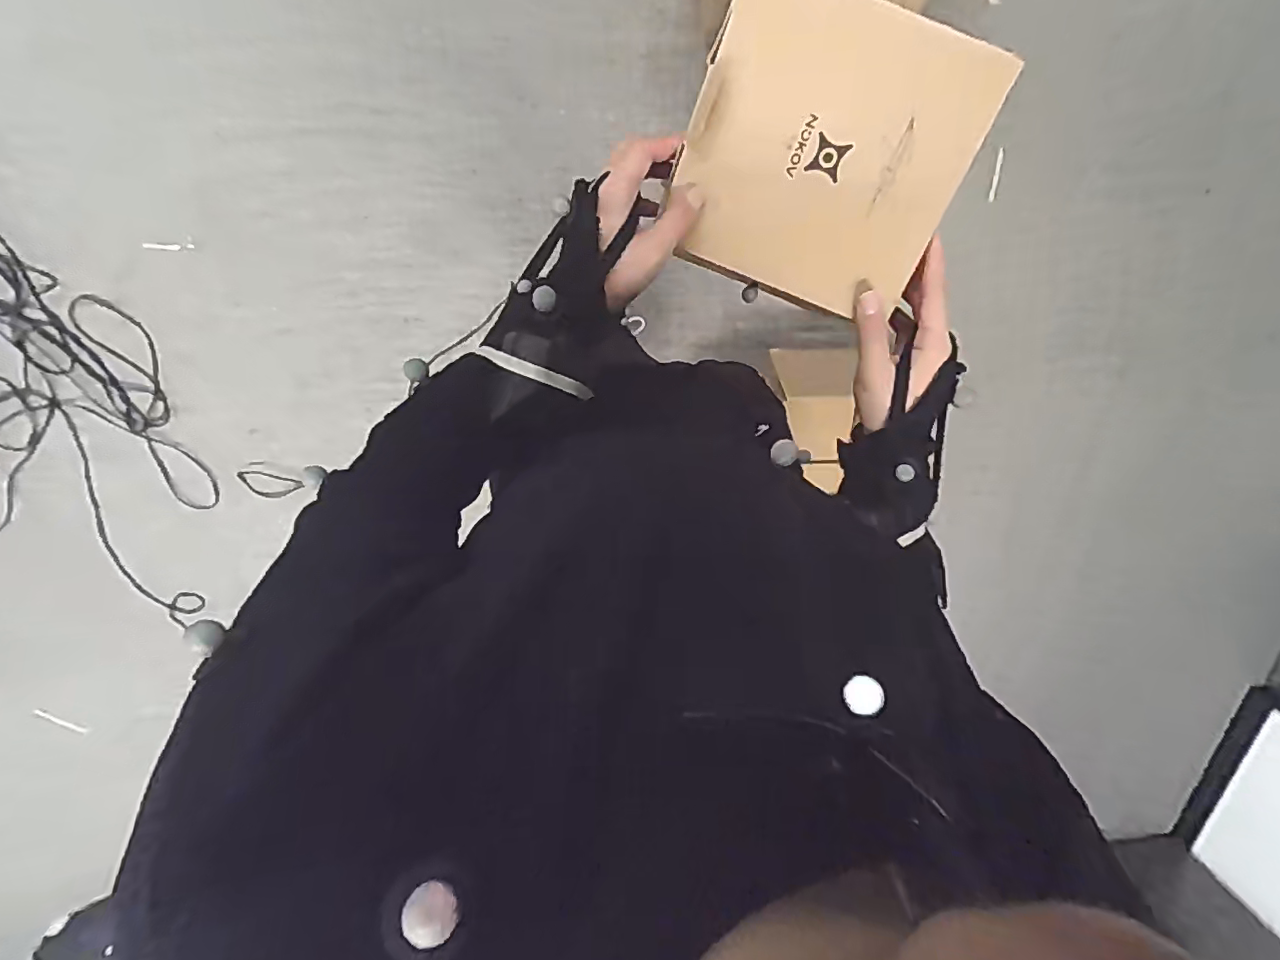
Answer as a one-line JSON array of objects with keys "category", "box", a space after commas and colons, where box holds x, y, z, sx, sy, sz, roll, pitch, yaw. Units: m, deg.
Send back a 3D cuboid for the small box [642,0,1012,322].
[{"category": "small box", "box": [0.116, -0.232, 0.412, 0.179, 0.176, 0.168, 20, 111, -2]}]
